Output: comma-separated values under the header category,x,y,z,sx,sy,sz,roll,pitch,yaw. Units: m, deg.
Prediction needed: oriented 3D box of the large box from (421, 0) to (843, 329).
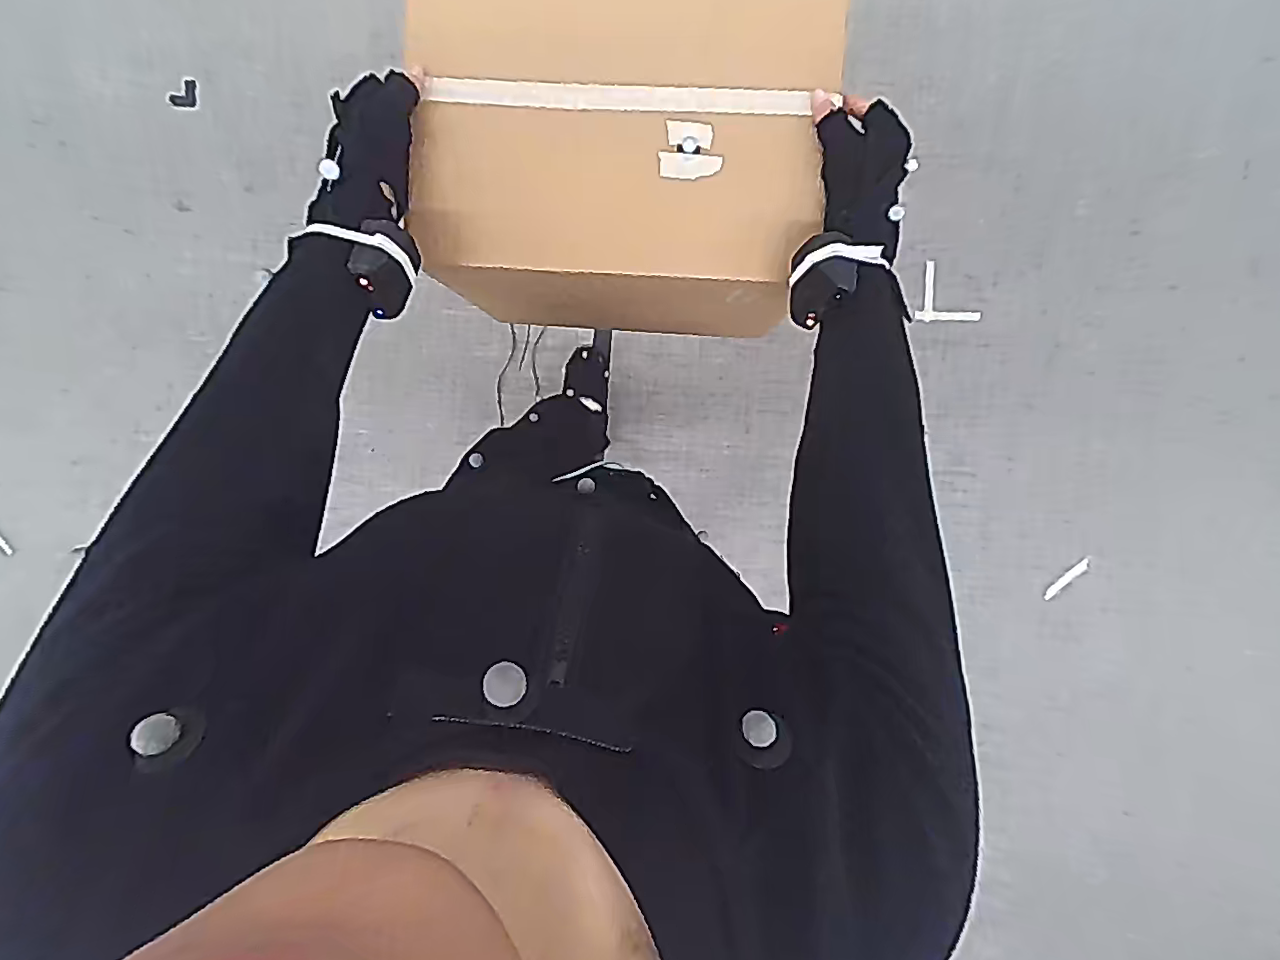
category,x,y,z,sx,sy,sz,roll,pitch,yaw
large box,-0.011,-0.375,0.664,0.408,0.320,0.320,3,96,1
